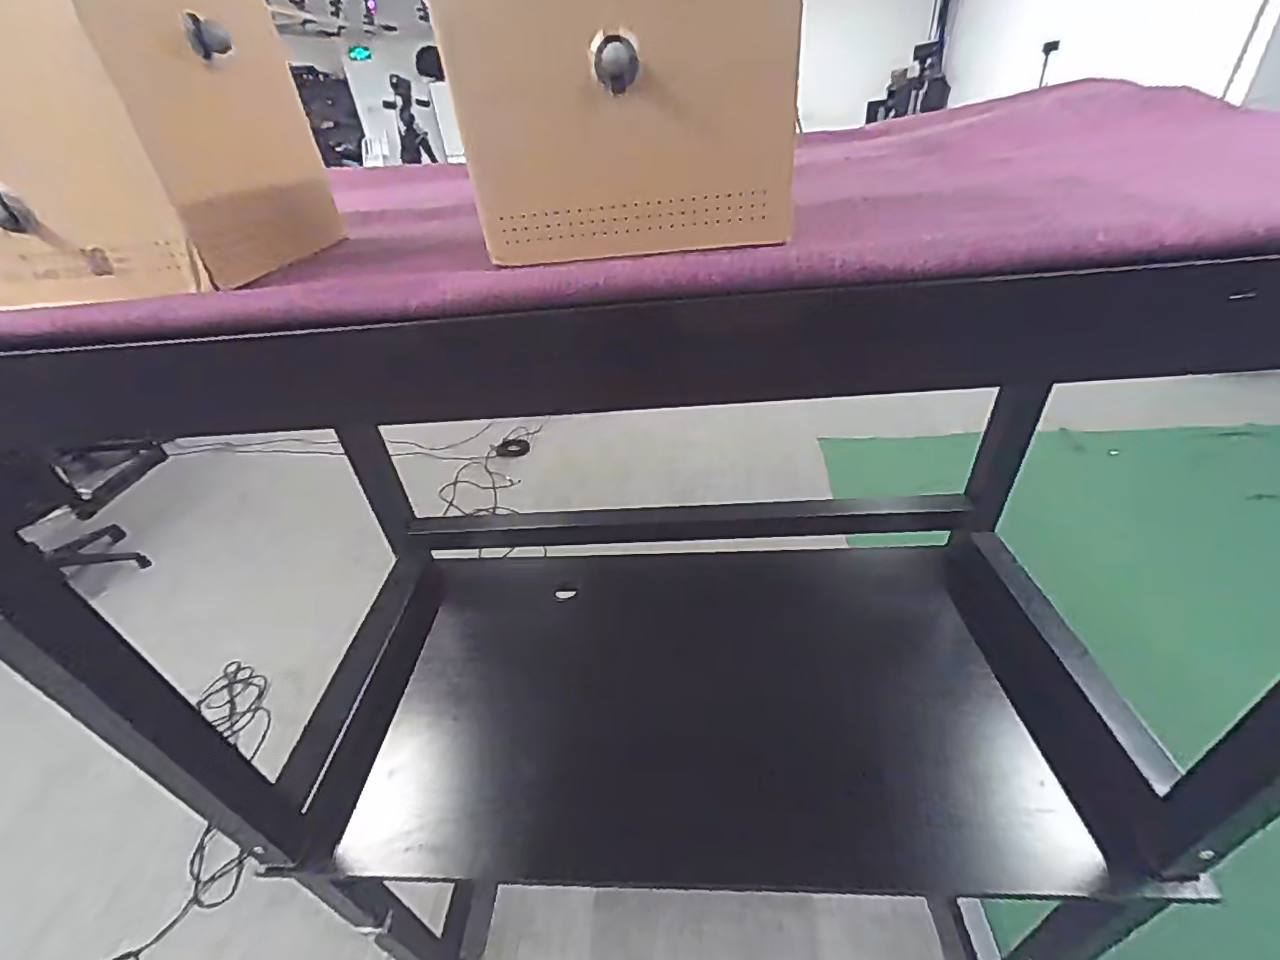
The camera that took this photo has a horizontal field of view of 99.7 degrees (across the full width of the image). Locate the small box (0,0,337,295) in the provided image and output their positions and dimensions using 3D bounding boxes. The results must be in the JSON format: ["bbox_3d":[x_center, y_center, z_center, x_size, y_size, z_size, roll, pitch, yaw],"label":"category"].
[{"bbox_3d":[-0.330,-0.227,0.349,0.168,0.176,0.179,-4,35,2],"label":"small box"}]
